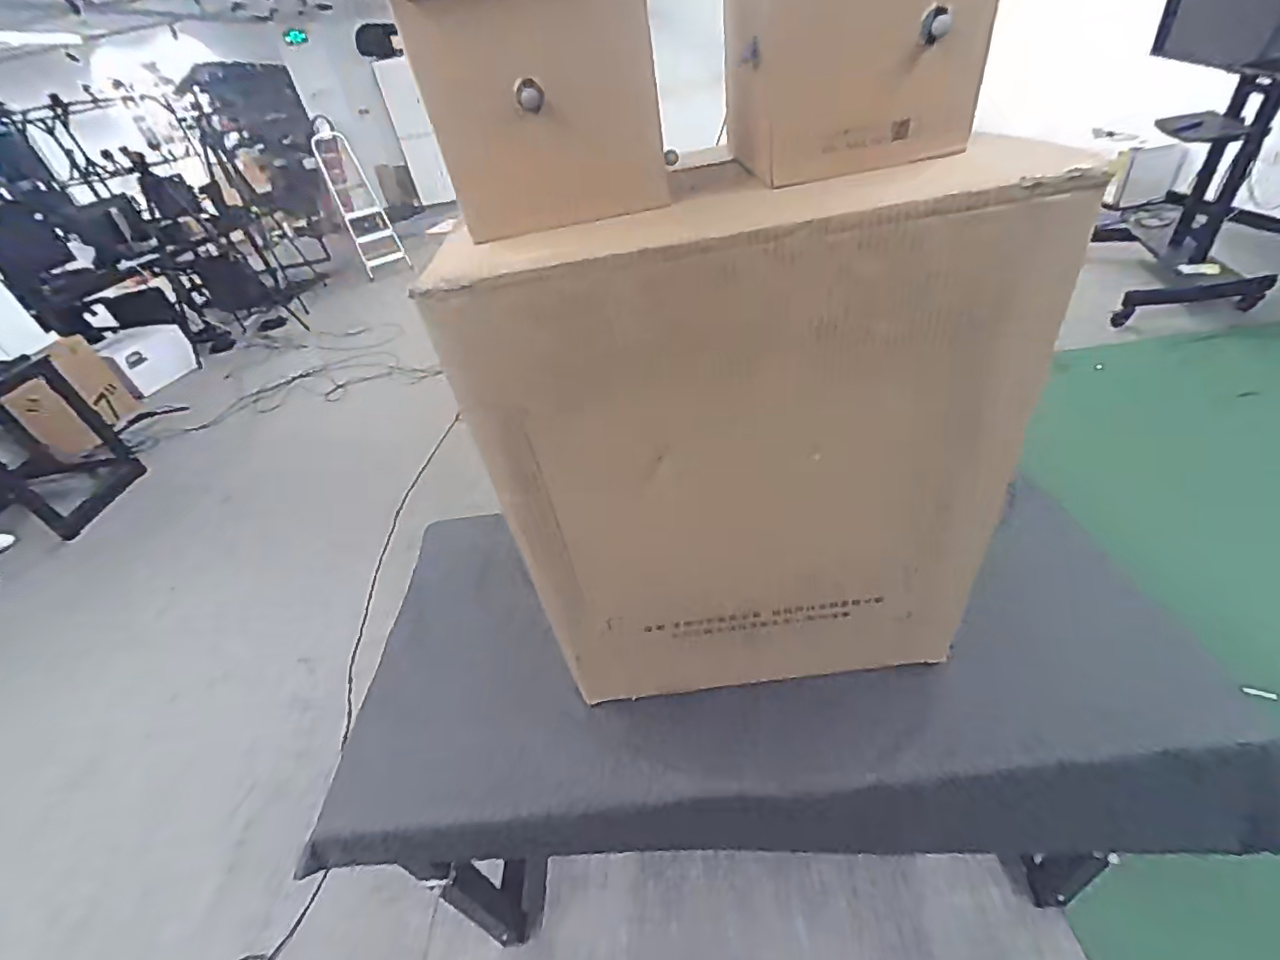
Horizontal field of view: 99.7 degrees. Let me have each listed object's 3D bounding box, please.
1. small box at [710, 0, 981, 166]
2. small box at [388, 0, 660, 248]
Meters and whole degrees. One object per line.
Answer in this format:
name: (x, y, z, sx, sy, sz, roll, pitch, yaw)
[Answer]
small box: (0.162, -0.382, 0.454, 0.168, 0.176, 0.179, -13, 42, -2)
small box: (-0.081, -0.328, 0.477, 0.179, 0.176, 0.168, -11, 41, 3)
